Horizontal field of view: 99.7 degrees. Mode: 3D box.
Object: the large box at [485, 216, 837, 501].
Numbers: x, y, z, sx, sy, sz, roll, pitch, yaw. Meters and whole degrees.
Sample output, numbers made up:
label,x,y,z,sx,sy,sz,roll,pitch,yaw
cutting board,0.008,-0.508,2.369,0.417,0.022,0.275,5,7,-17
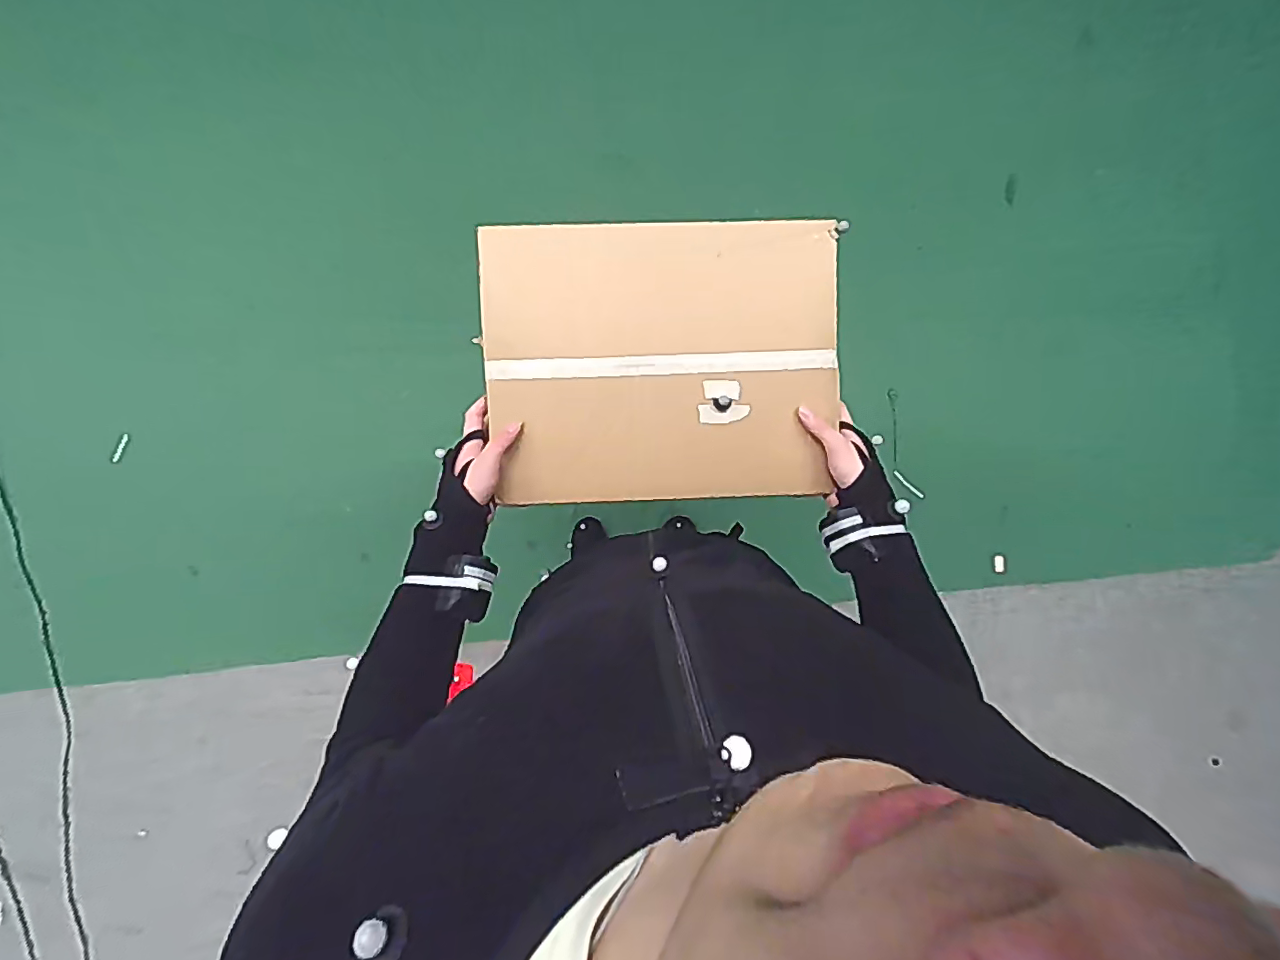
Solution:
label,x,y,z,sx,sy,sz,roll,pitch,yaw
large box,0.023,-0.152,0.775,0.408,0.320,0.320,-3,96,-2
